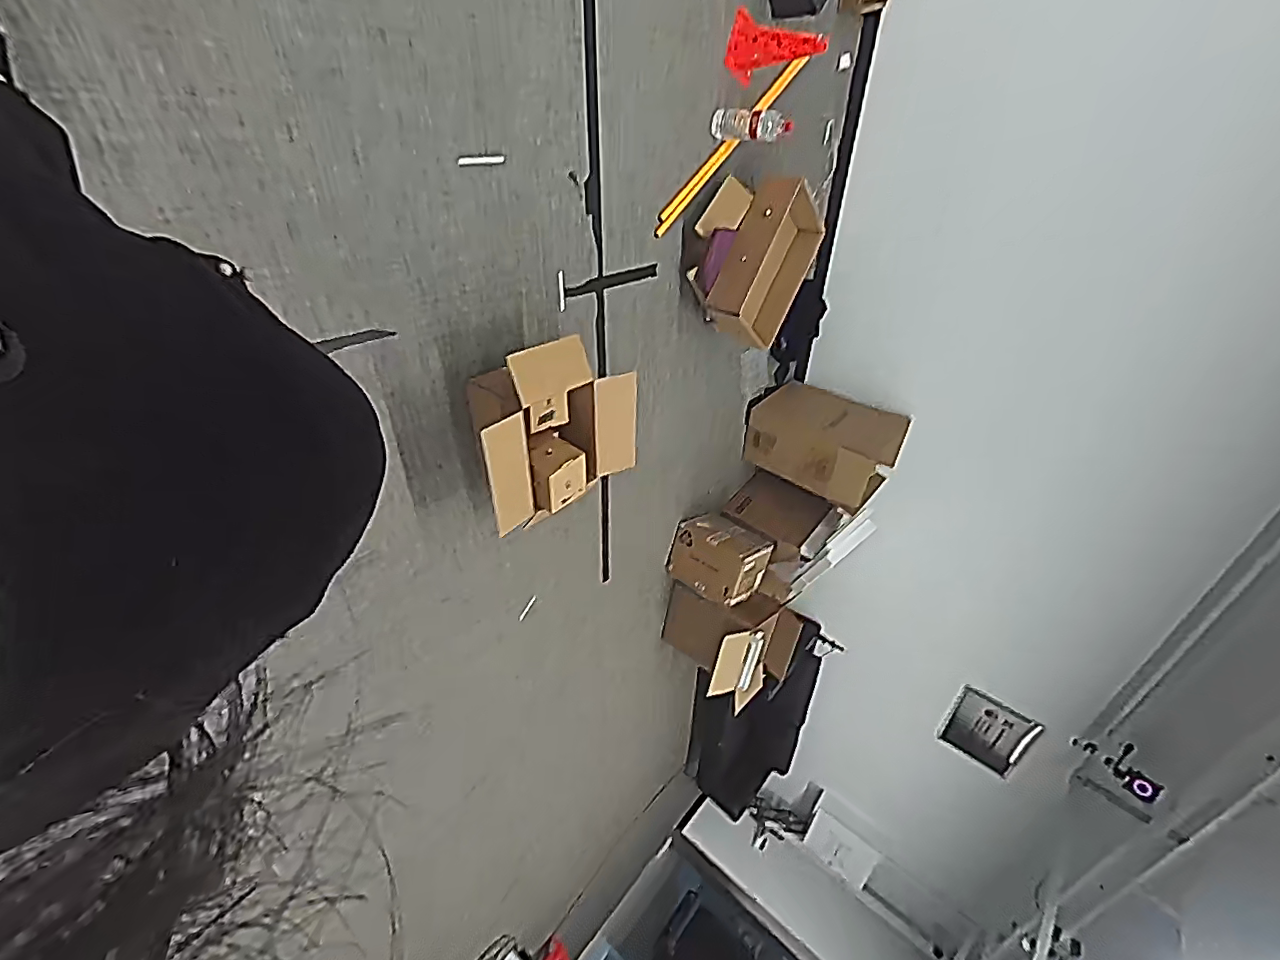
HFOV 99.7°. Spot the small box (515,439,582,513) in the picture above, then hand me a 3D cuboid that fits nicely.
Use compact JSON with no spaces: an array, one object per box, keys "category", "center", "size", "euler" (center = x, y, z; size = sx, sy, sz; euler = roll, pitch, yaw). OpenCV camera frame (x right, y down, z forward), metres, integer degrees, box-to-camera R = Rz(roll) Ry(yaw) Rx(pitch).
[{"category":"small box","center":[-0.318,-0.023,1.875],"size":[0.168,0.176,0.179],"euler":[-36,143,-38]}]
